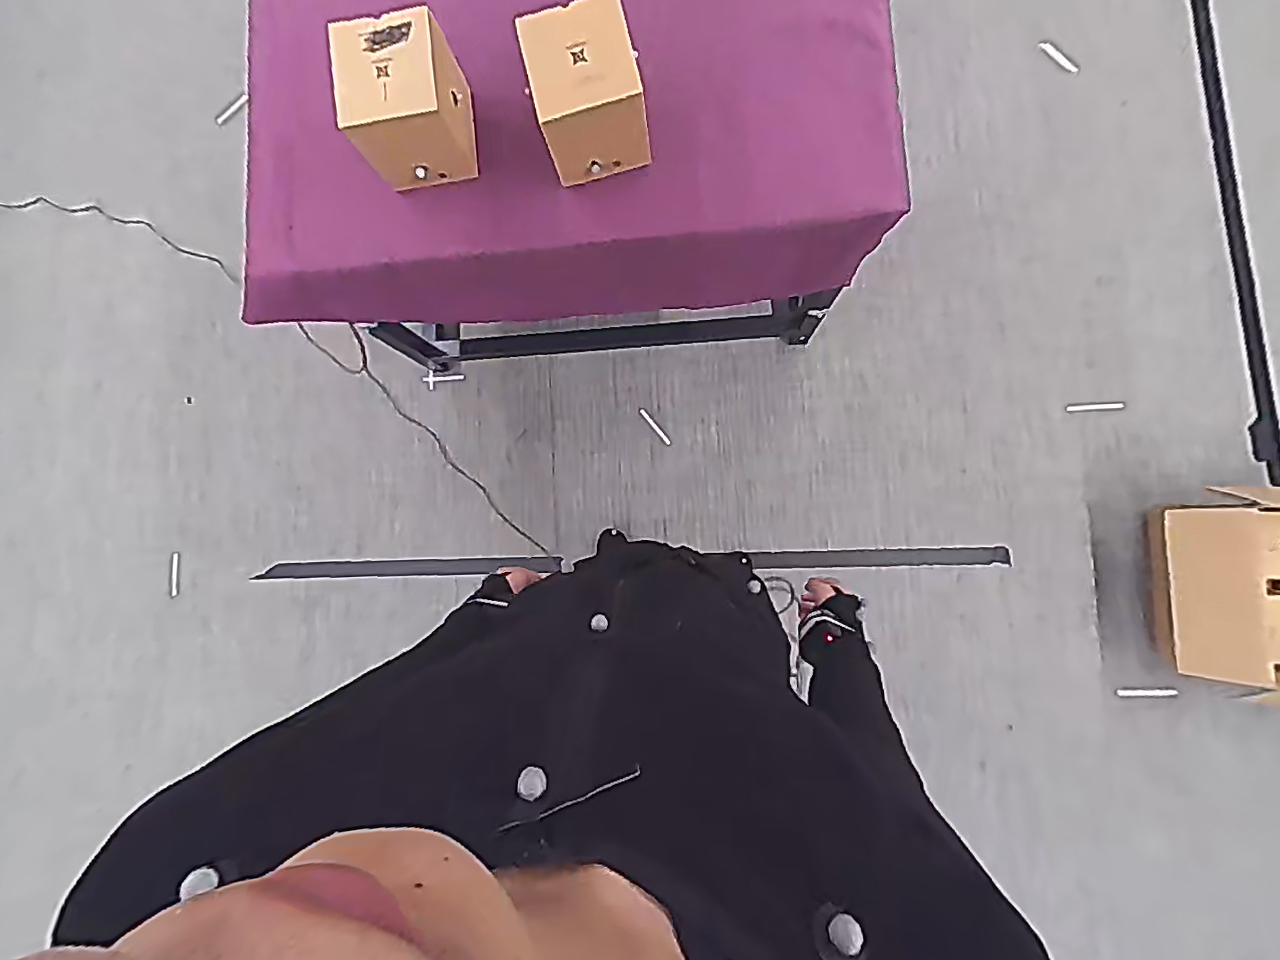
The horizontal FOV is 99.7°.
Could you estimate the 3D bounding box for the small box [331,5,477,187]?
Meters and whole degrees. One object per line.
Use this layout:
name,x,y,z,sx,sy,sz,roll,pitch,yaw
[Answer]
small box,-0.392,-0.641,0.921,0.168,0.176,0.179,-7,86,5

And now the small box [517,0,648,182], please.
small box,-0.087,-0.640,0.896,0.168,0.176,0.179,-14,84,4
